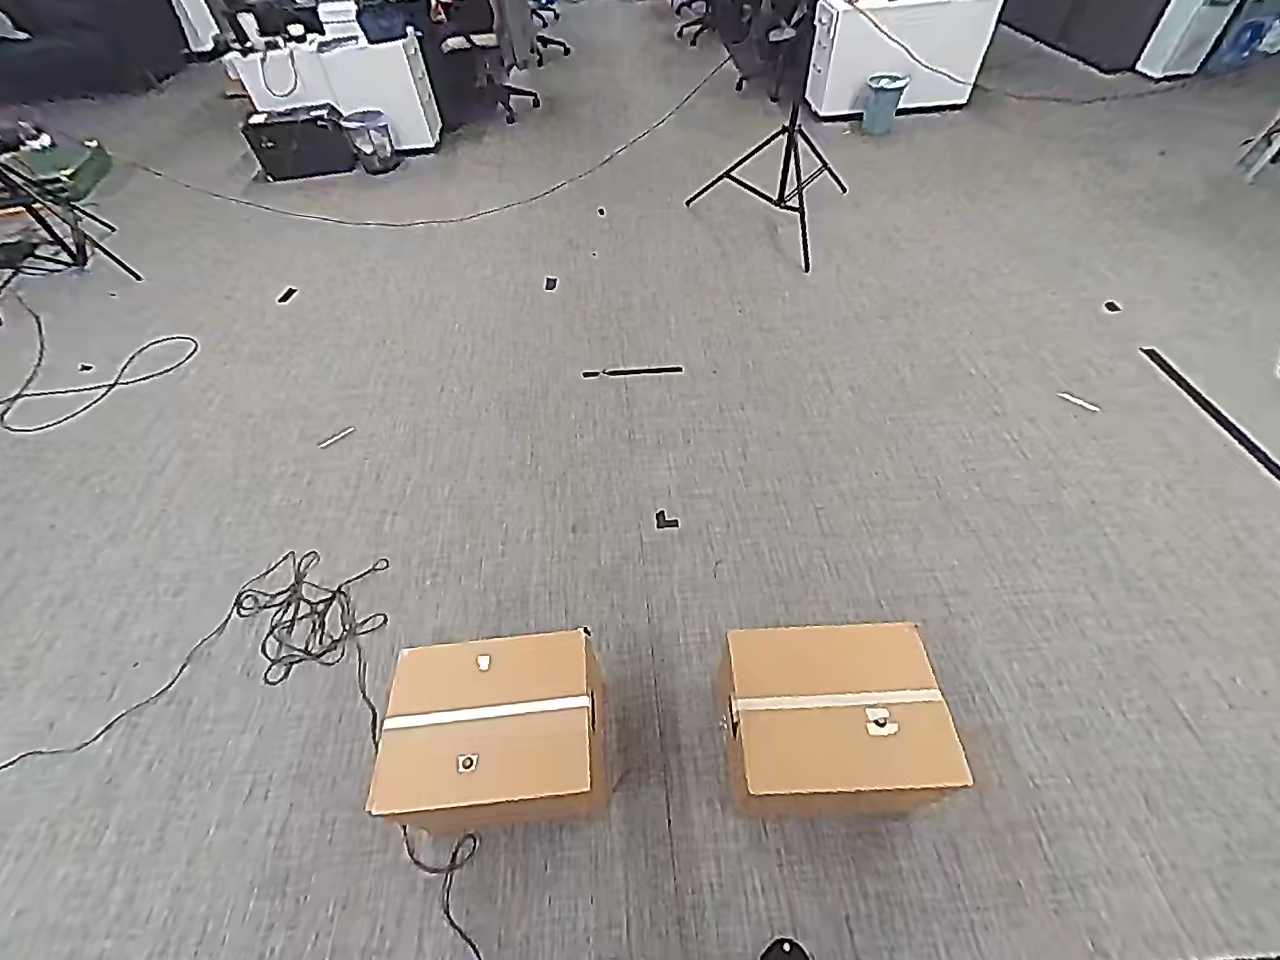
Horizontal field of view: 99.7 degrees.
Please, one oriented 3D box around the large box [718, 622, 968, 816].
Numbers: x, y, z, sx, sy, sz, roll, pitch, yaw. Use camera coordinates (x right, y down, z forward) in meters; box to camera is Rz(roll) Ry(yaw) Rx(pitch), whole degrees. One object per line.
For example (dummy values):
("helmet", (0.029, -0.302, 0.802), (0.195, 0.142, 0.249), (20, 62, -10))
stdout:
("large box", (0.398, 0.530, 1.188), (0.408, 0.320, 0.320), (-2, 51, 1))
